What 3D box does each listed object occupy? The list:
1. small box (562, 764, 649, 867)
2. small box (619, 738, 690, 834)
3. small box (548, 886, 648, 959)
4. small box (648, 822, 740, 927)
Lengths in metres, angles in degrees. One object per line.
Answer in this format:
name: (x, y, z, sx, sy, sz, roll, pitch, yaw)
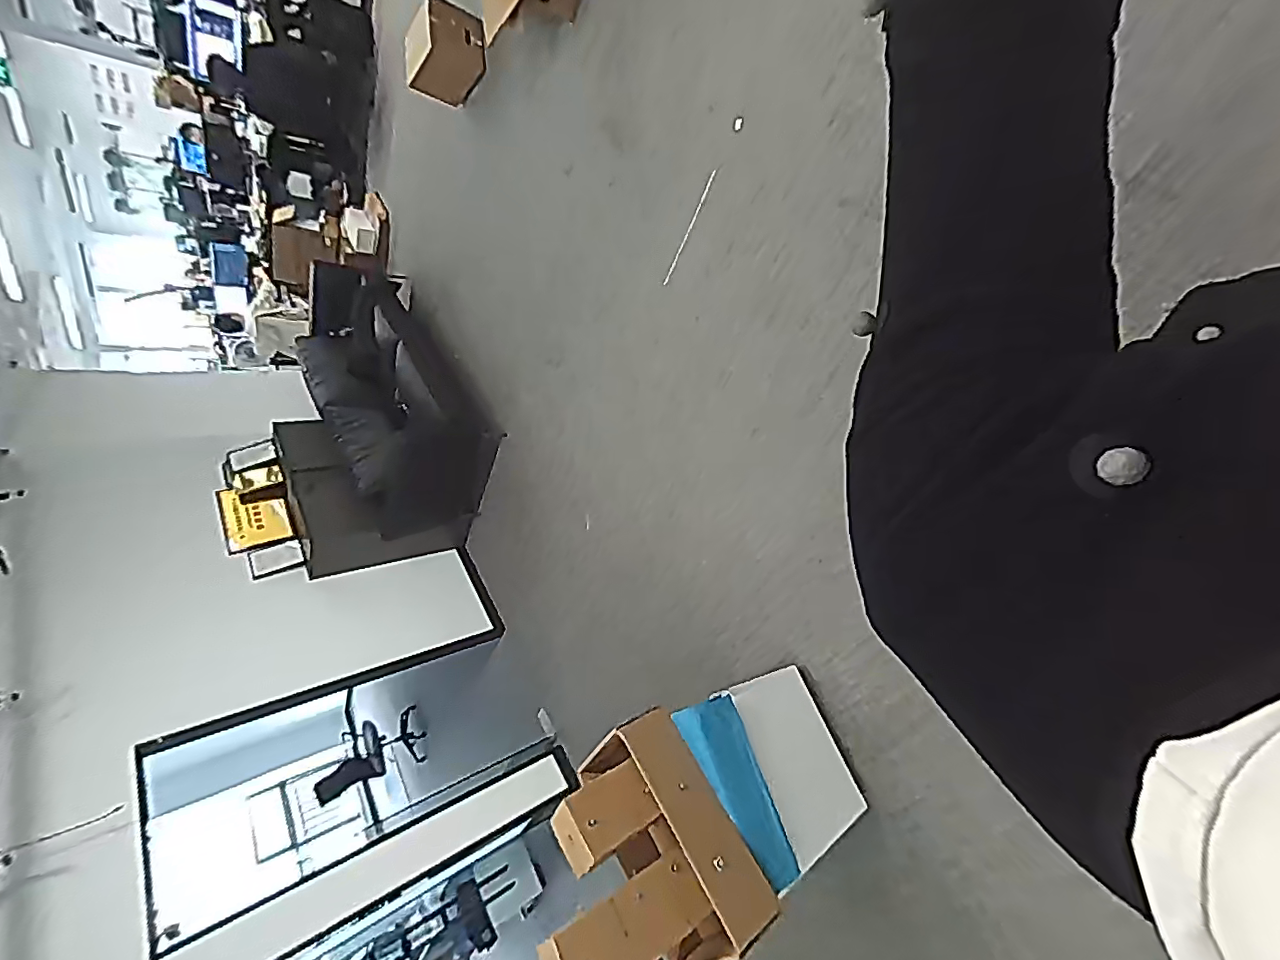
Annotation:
small box: (-0.099, 0.972, 1.578, 0.179, 0.176, 0.168, 51, 134, 32)
small box: (0.027, 0.945, 1.678, 0.179, 0.176, 0.168, 51, 135, 30)
small box: (-0.105, 1.177, 1.366, 0.179, 0.176, 0.168, 58, 137, 30)
small box: (0.157, 1.134, 1.560, 0.179, 0.176, 0.168, 56, 137, 31)
